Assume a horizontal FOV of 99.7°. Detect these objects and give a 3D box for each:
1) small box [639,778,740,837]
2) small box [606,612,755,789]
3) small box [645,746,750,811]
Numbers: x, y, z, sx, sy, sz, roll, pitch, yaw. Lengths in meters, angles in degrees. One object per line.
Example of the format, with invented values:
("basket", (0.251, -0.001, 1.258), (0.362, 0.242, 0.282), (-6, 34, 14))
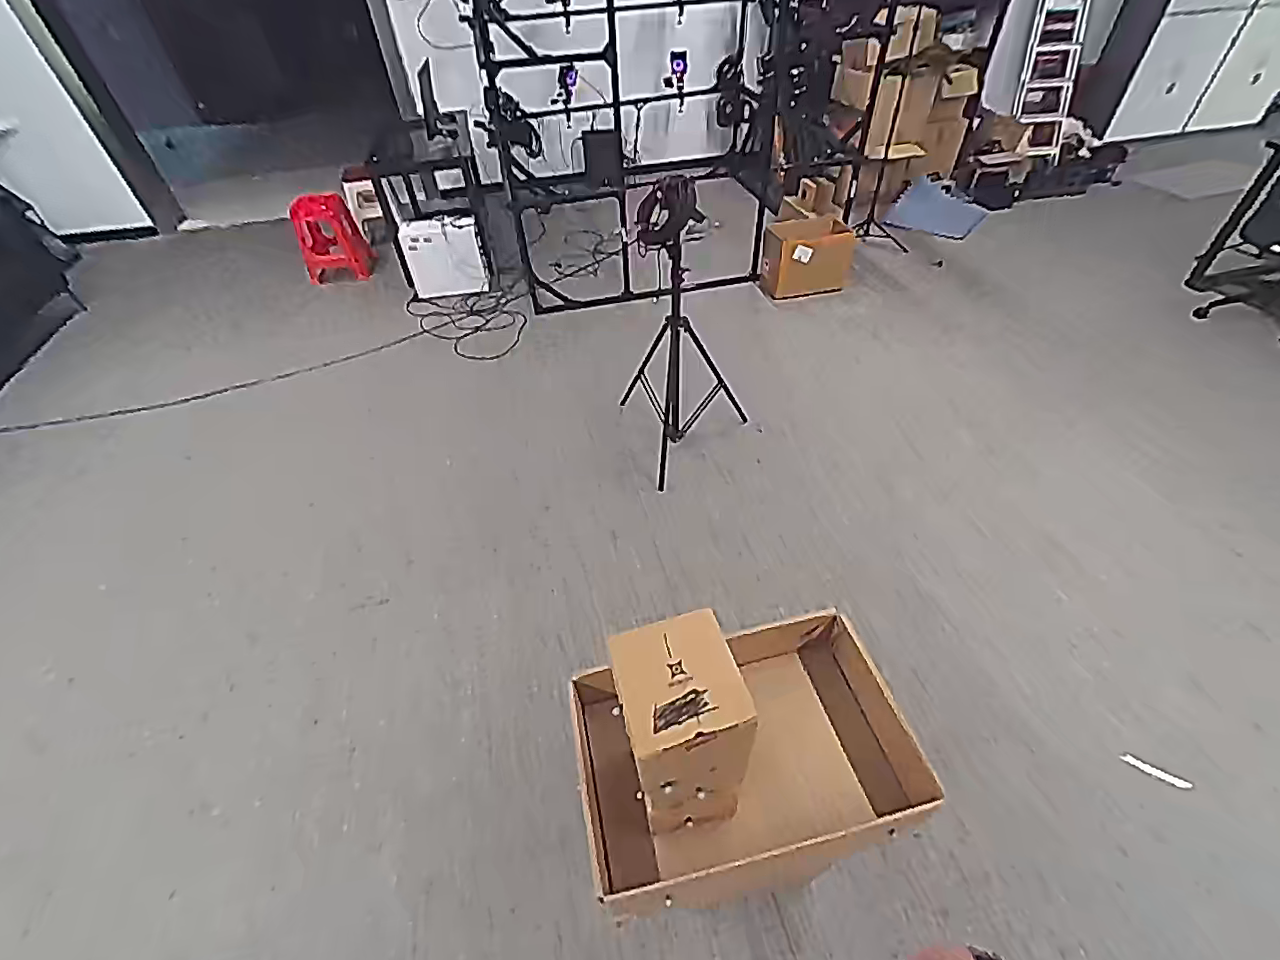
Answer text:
("small box", (0.080, 0.552, 1.042), (0.168, 0.176, 0.179), (-12, 46, -7))
("small box", (0.056, 0.331, 0.800), (0.168, 0.176, 0.179), (-14, 46, -10))
("small box", (0.074, 0.433, 0.928), (0.168, 0.176, 0.179), (-13, 46, -8))
